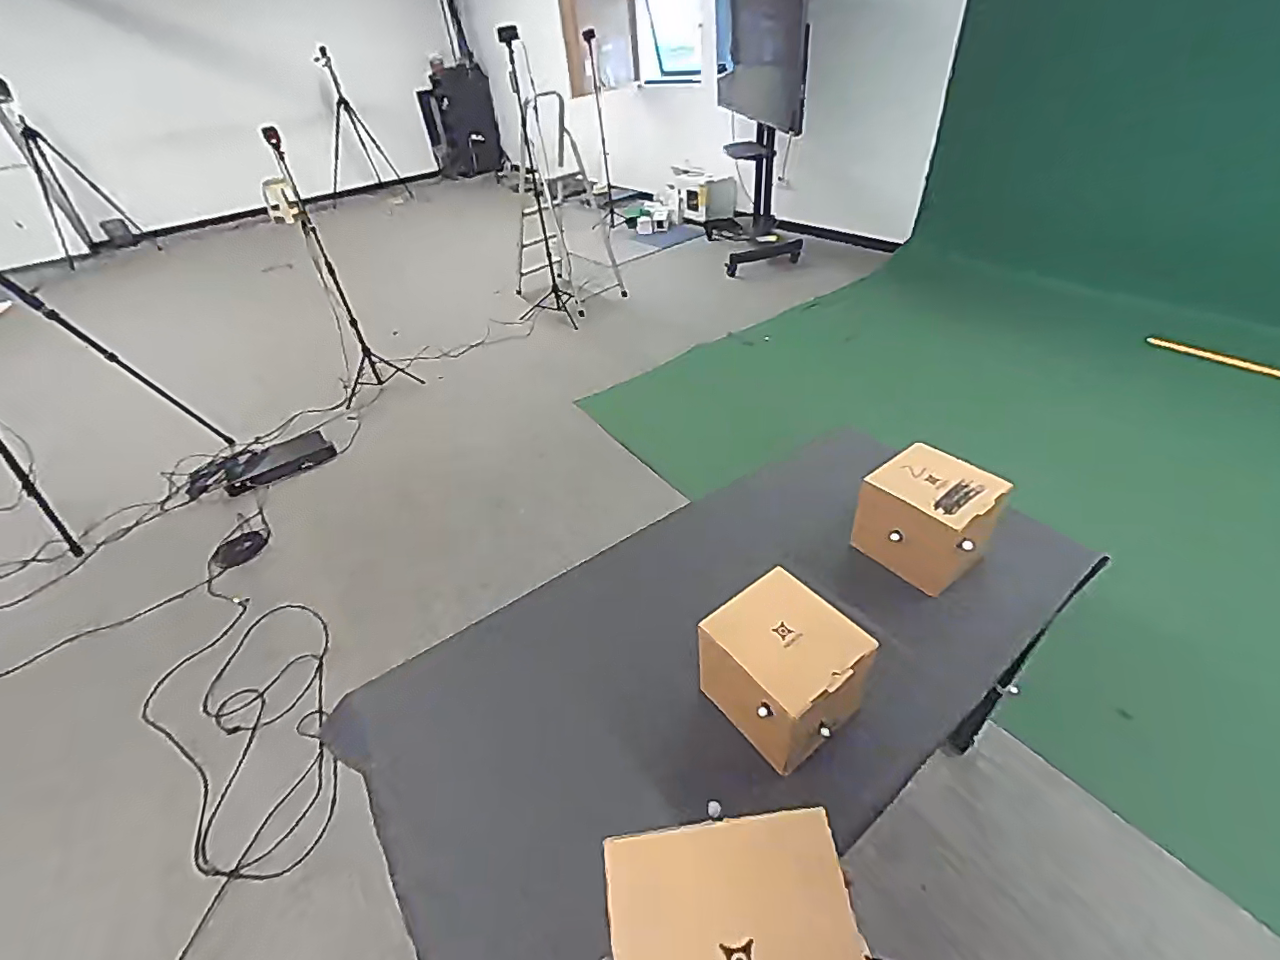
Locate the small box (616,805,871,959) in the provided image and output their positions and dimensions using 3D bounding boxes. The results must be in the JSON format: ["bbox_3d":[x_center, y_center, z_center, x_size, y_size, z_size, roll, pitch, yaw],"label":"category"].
[{"bbox_3d":[0.073,0.363,0.414,0.168,0.176,0.179,-7,57,0],"label":"small box"}]

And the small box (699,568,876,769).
[{"bbox_3d":[0.199,0.267,0.776,0.168,0.176,0.179,-28,45,-25],"label":"small box"}]
